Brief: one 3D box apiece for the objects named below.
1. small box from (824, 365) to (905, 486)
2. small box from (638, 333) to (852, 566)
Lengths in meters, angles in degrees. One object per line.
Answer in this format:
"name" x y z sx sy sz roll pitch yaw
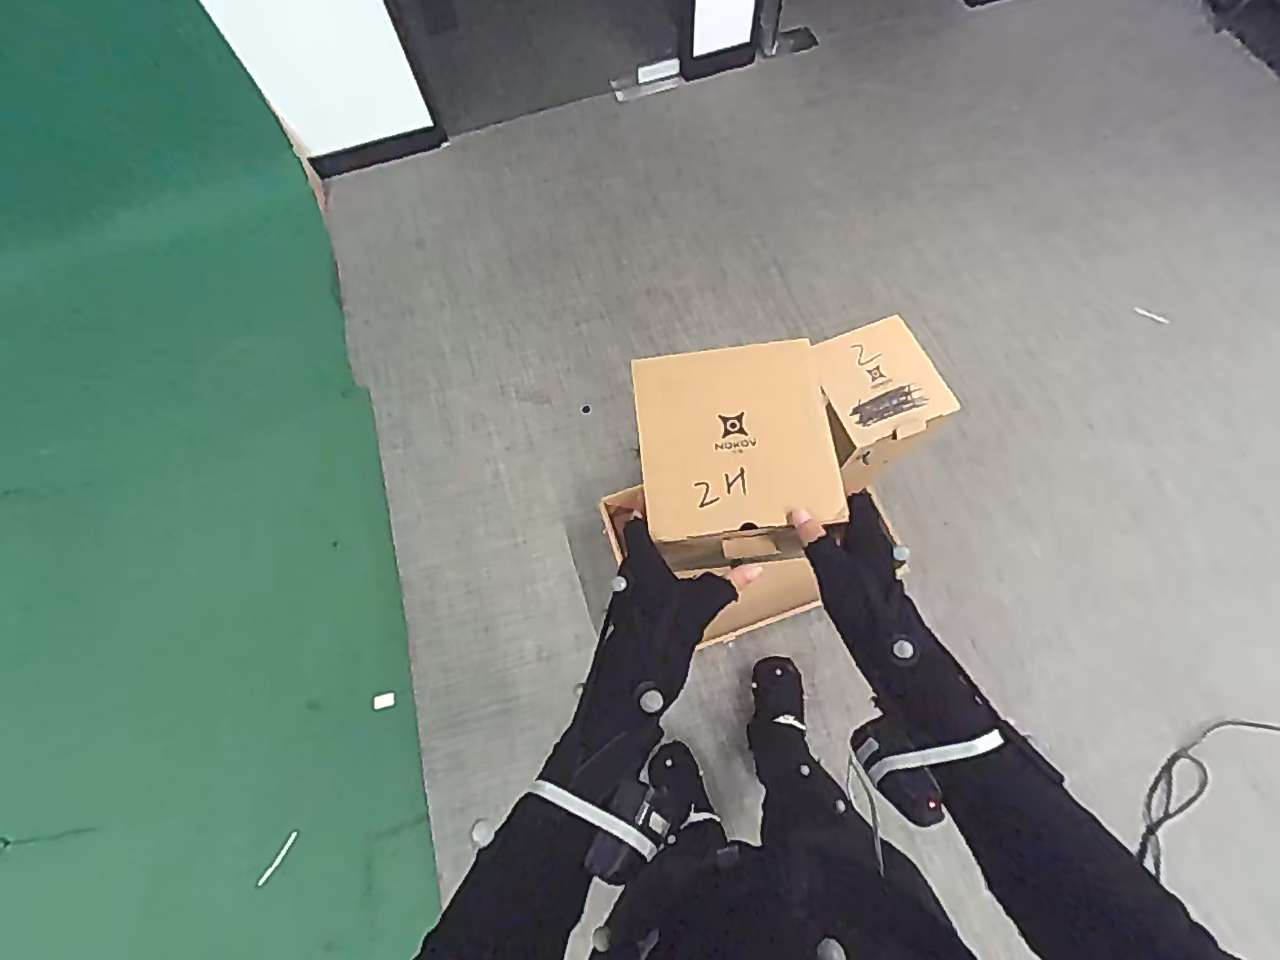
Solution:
"small box" 0.351 -0.079 1.010 0.168 0.176 0.179 -18 70 -4
"small box" 0.090 -0.019 0.542 0.168 0.176 0.179 -7 72 3
